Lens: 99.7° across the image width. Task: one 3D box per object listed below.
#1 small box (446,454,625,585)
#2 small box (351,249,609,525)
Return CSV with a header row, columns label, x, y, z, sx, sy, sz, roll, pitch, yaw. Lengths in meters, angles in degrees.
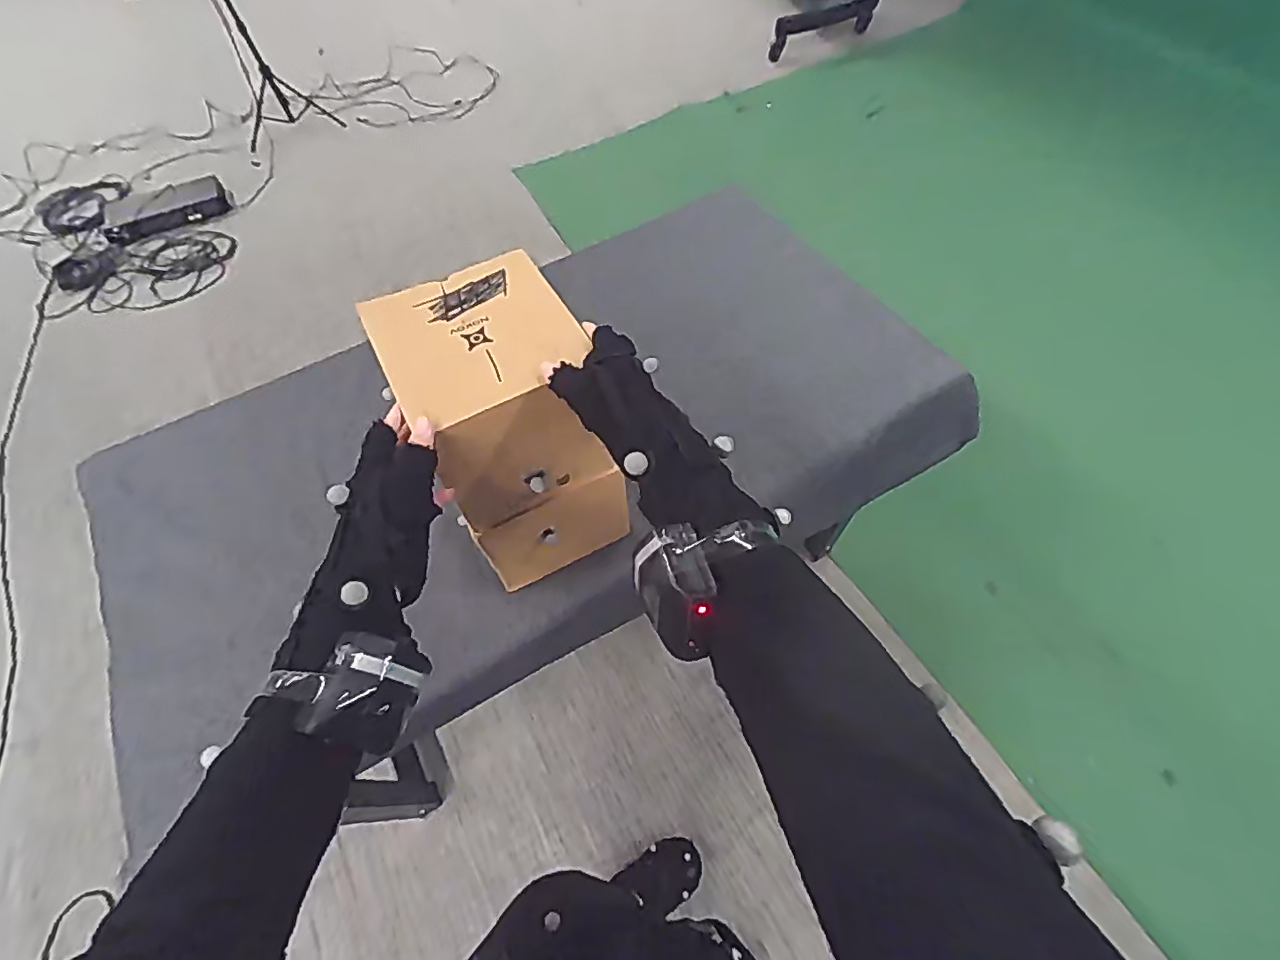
label,x,y,z,sx,sy,sz,roll,pitch,yaw
small box,-0.133,0.004,0.673,0.179,0.176,0.168,-27,61,-12
small box,-0.146,-0.088,0.536,0.168,0.176,0.179,-30,60,-15
